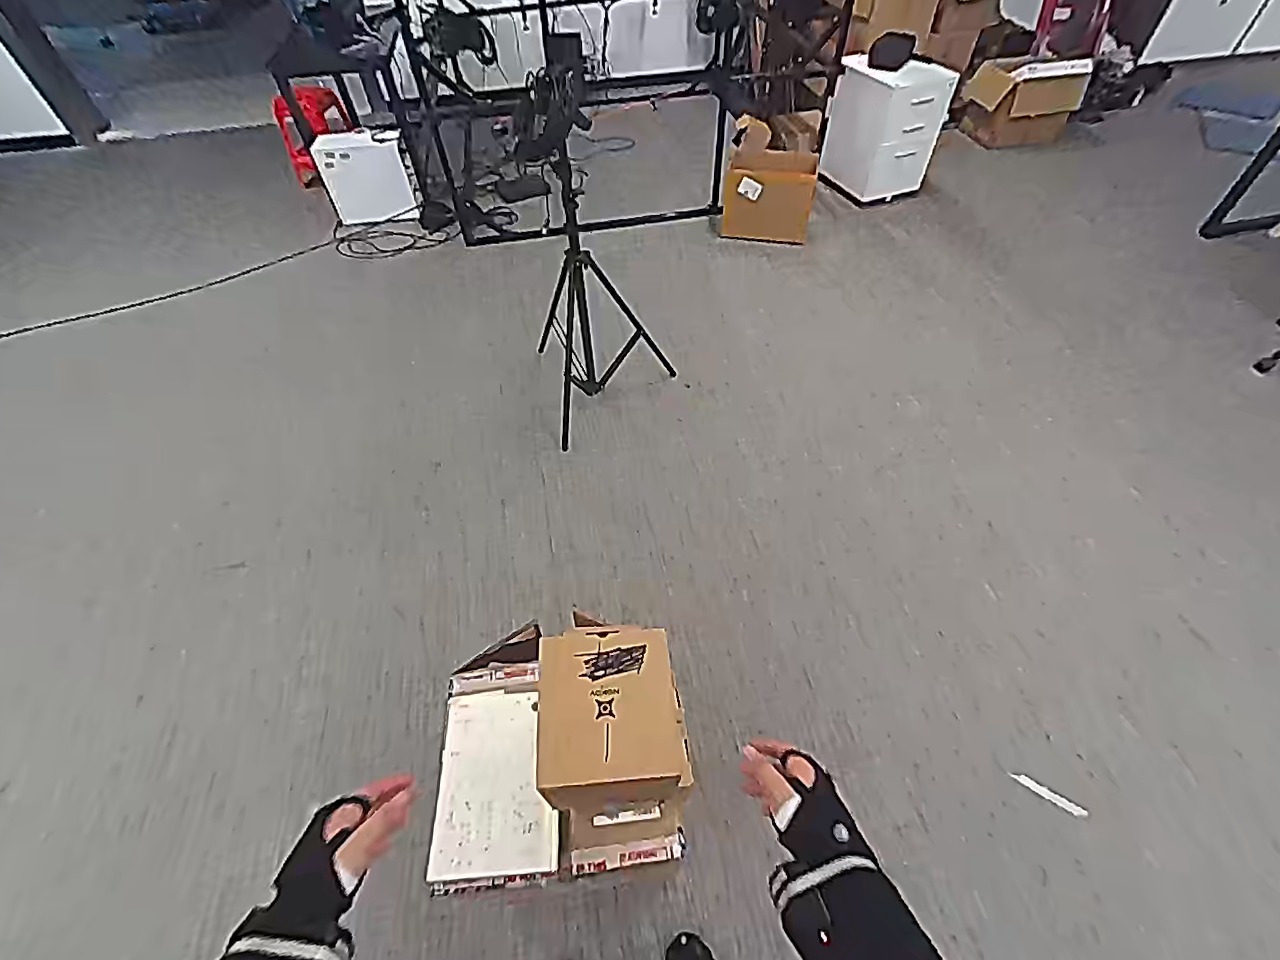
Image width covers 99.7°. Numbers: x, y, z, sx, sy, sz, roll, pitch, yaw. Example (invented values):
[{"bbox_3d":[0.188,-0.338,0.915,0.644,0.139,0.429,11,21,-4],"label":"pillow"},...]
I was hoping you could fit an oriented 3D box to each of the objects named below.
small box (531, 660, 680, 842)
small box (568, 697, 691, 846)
[{"bbox_3d":[-0.045,0.352,0.701,0.168,0.176,0.179,-3,53,-4],"label":"small box"},{"bbox_3d":[-0.028,0.450,0.833,0.179,0.176,0.168,-7,52,-5],"label":"small box"}]
